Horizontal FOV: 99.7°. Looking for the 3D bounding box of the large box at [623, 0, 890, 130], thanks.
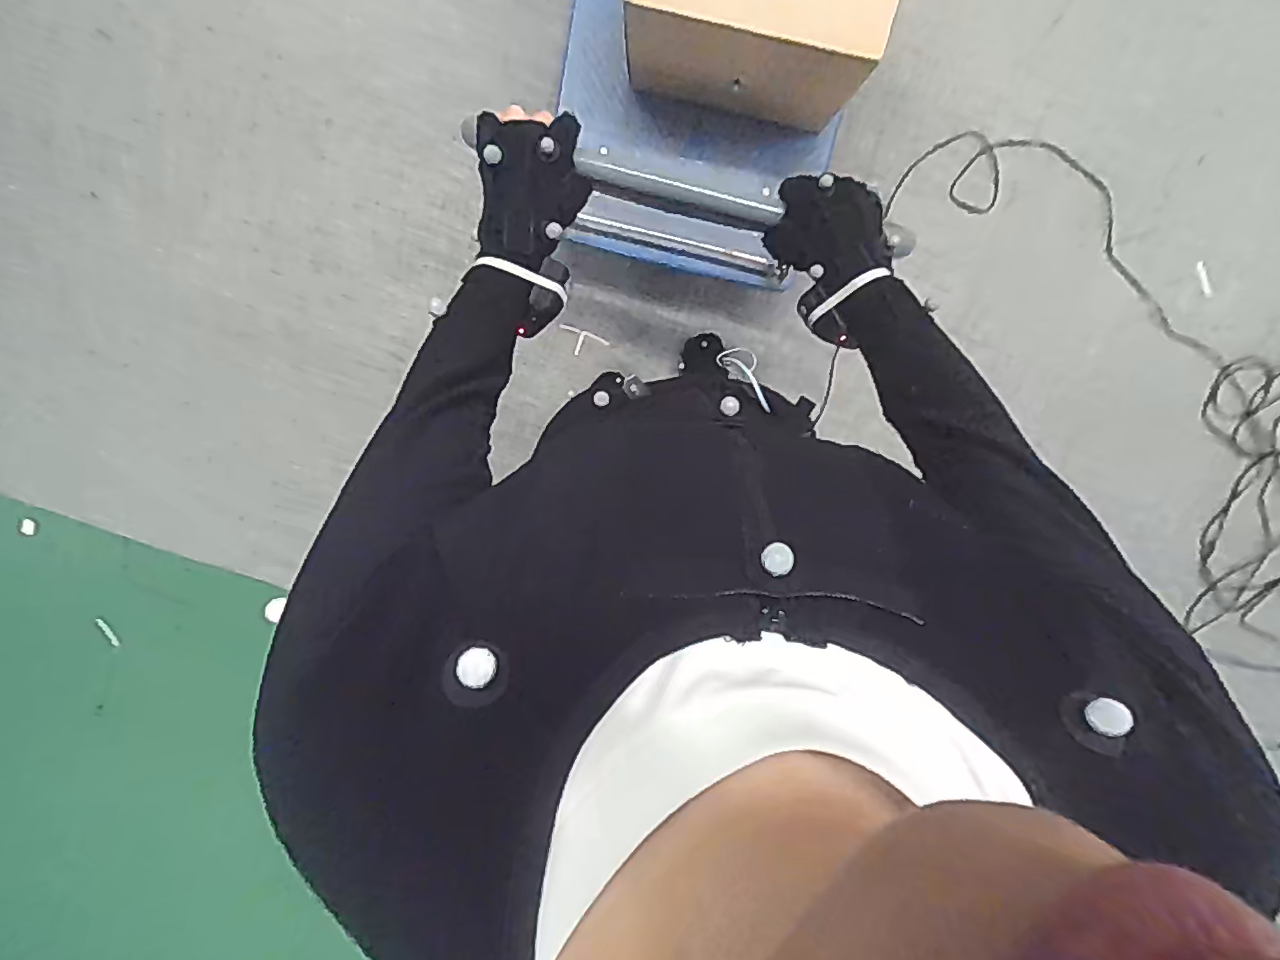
[{"bbox_3d":[0.204,-0.863,0.937,0.408,0.320,0.320,12,104,-1],"label":"large box"}]
